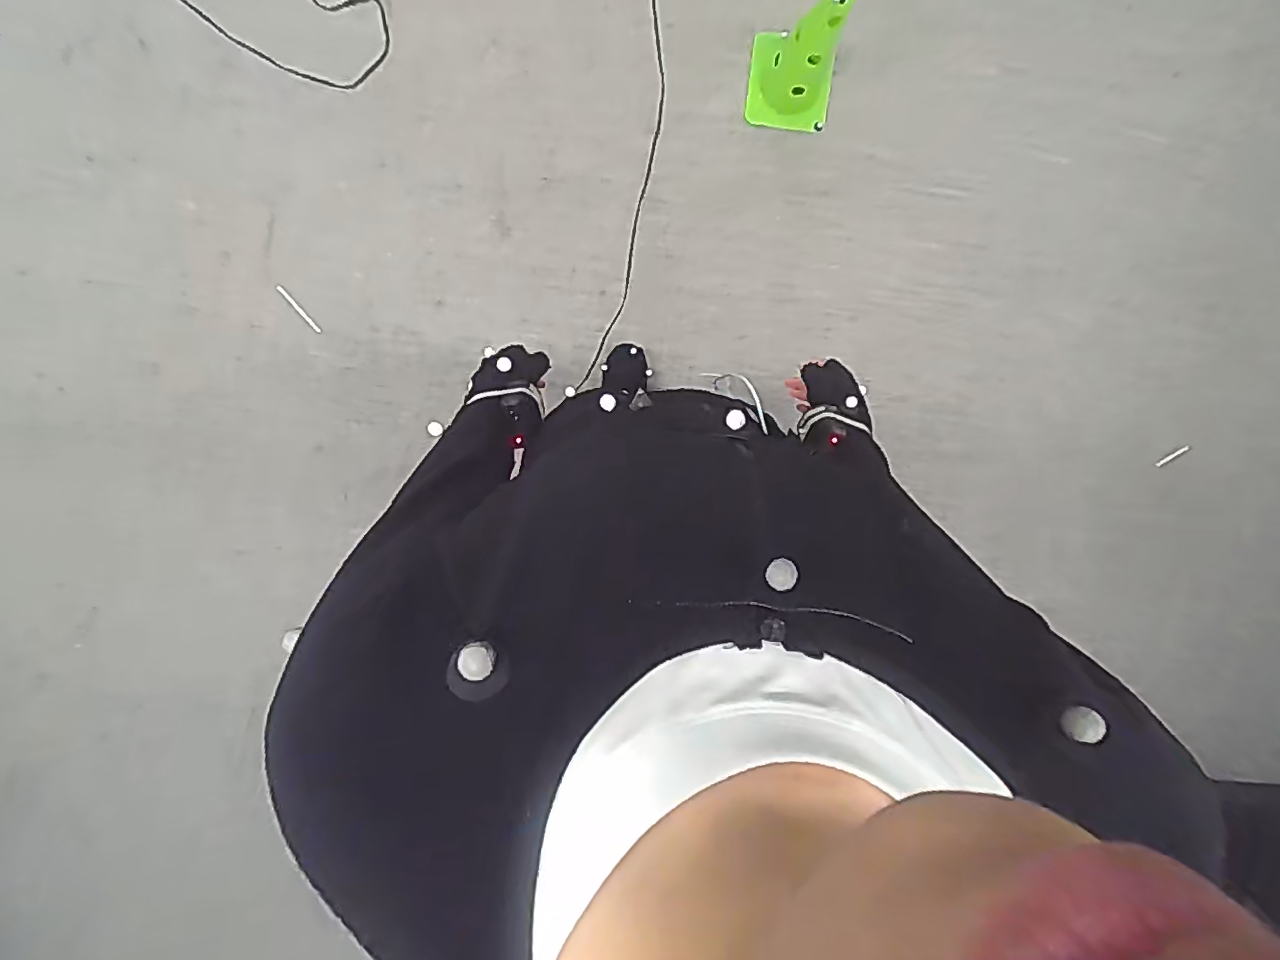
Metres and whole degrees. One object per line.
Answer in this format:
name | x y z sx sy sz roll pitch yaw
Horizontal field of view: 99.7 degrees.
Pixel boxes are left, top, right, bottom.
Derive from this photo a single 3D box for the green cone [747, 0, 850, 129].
green cone | 0.370 -0.930 1.130 0.202 0.368 0.200 5 100 -2
